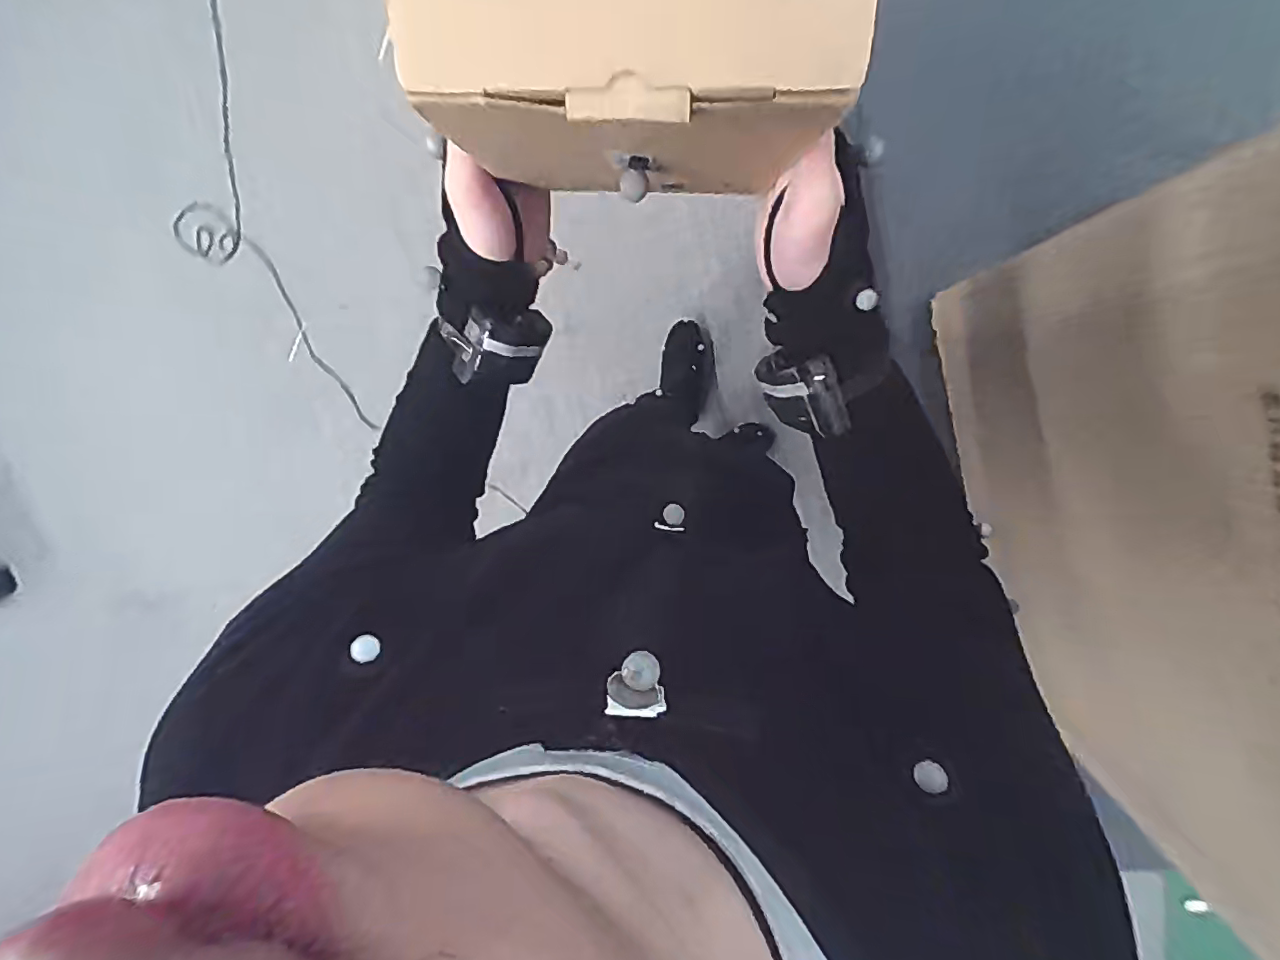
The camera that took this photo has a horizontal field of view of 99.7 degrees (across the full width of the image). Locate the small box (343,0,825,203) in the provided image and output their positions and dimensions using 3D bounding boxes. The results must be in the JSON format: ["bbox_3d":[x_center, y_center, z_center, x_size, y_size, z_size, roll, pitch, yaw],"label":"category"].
[{"bbox_3d":[-0.014,-0.231,0.241,0.168,0.176,0.179,2,109,2],"label":"small box"}]
